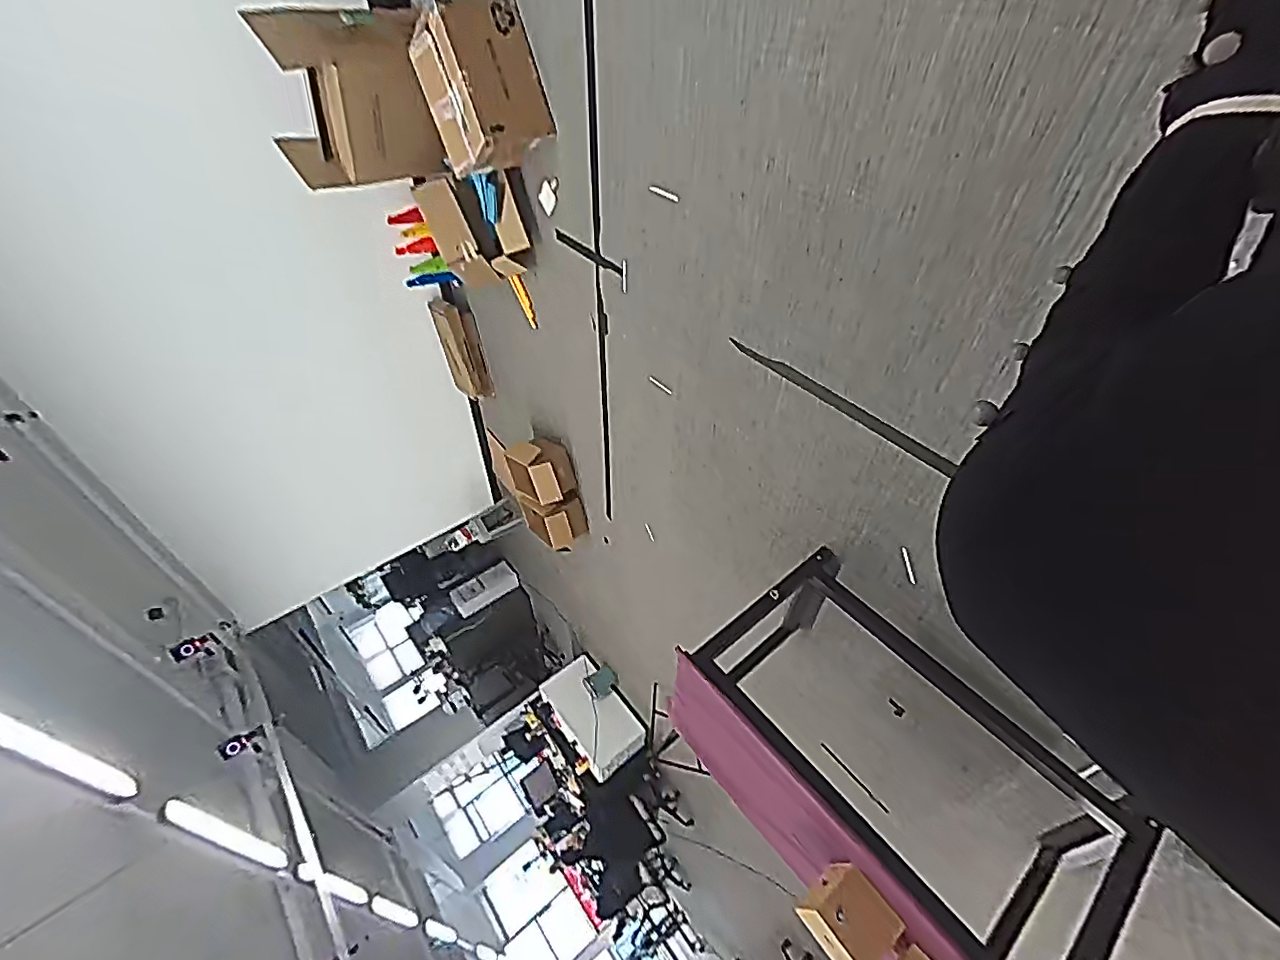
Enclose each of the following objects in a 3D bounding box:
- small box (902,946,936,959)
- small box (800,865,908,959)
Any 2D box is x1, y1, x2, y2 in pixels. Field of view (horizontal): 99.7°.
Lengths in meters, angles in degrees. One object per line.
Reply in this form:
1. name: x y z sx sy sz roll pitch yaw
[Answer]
1. small box: 0.714 1.328 1.357 0.168 0.176 0.179 36 144 39
2. small box: 0.571 1.170 1.449 0.179 0.176 0.168 47 151 24
